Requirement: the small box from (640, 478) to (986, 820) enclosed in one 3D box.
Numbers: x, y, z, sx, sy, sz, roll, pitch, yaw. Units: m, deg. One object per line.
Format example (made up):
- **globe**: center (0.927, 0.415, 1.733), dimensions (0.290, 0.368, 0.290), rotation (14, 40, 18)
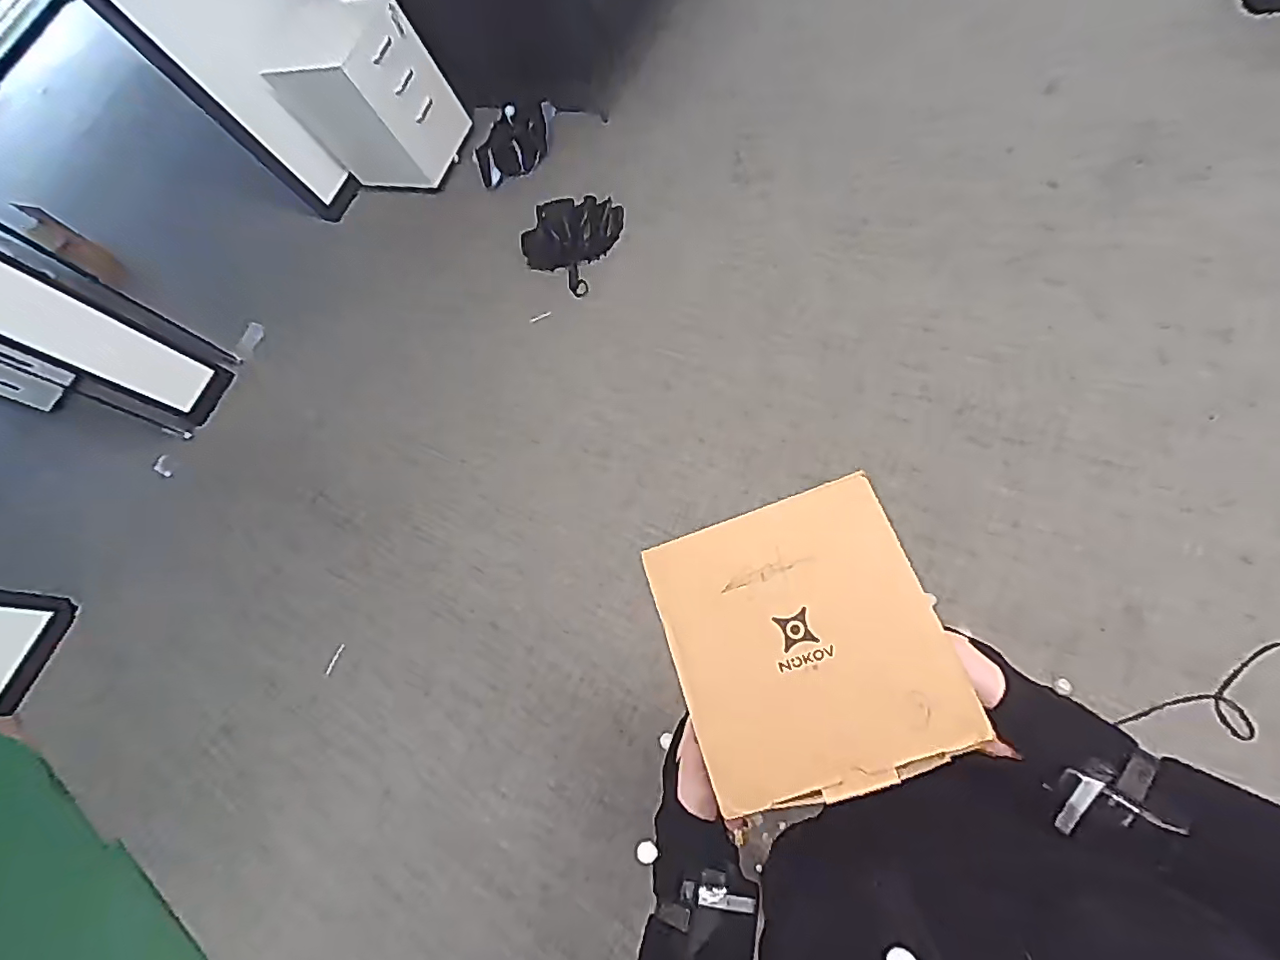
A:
- **small box**: center (0.118, 0.126, 0.419), dimensions (0.168, 0.176, 0.179), rotation (-21, 67, 6)
